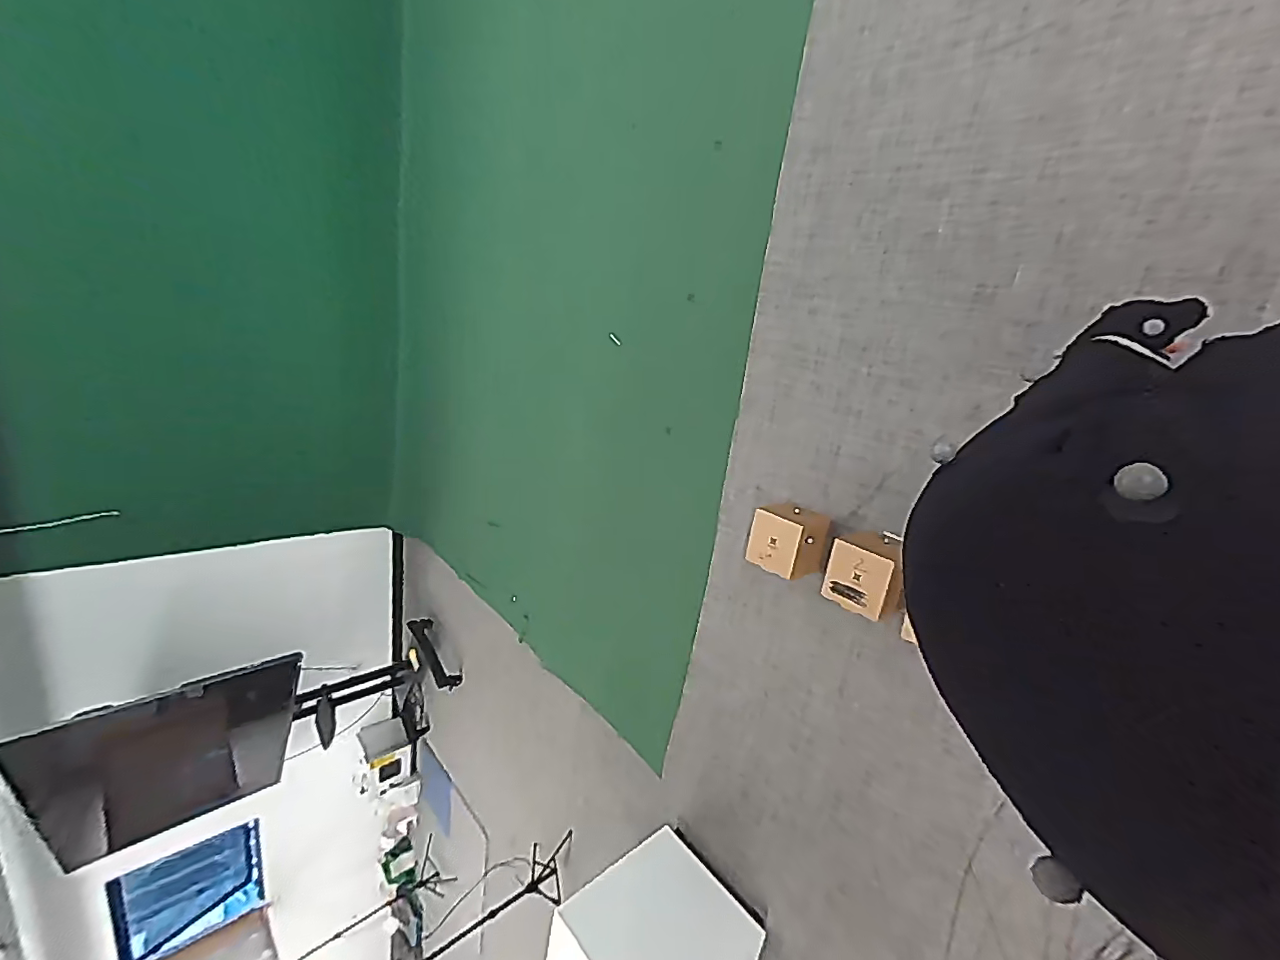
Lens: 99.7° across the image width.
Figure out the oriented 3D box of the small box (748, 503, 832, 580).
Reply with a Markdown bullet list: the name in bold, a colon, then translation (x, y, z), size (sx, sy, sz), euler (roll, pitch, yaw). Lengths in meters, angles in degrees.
- **small box**: translation (0.461, 0.179, 1.651), size (0.168, 0.176, 0.179), euler (25, 112, 44)
